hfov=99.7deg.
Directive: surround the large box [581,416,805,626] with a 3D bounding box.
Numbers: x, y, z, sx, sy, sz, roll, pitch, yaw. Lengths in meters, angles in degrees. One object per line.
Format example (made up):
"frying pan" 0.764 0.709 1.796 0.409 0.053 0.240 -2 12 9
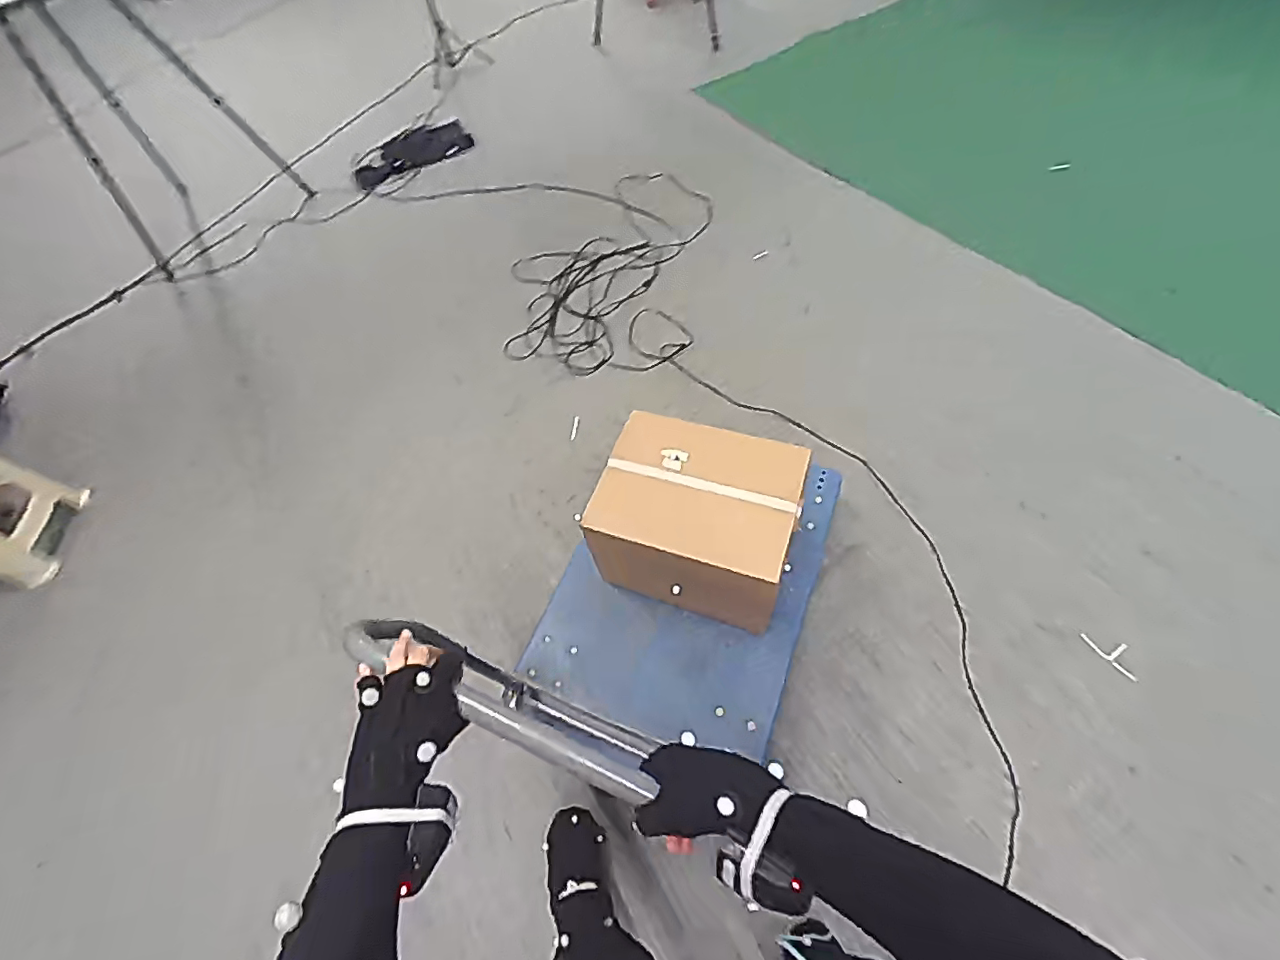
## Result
"large box" 0.134 0.096 1.237 0.408 0.320 0.320 14 60 17
